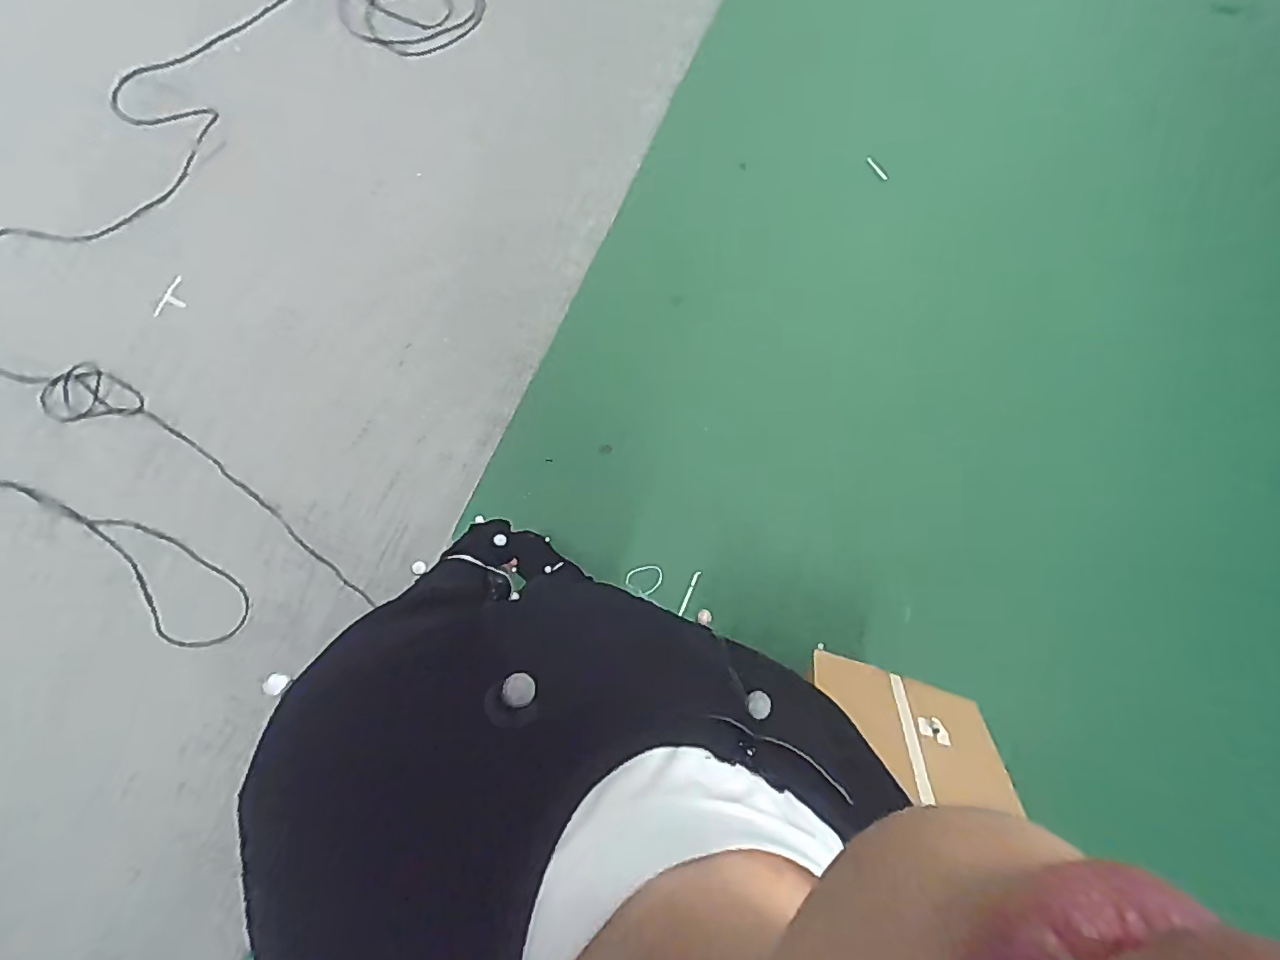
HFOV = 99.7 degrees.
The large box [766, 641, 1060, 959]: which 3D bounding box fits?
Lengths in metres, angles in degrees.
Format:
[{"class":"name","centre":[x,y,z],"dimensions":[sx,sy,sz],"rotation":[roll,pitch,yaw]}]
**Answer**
[{"class":"large box","centre":[0.414,0.563,0.944],"dimensions":[0.320,0.408,0.320],"rotation":[17,110,11]}]
